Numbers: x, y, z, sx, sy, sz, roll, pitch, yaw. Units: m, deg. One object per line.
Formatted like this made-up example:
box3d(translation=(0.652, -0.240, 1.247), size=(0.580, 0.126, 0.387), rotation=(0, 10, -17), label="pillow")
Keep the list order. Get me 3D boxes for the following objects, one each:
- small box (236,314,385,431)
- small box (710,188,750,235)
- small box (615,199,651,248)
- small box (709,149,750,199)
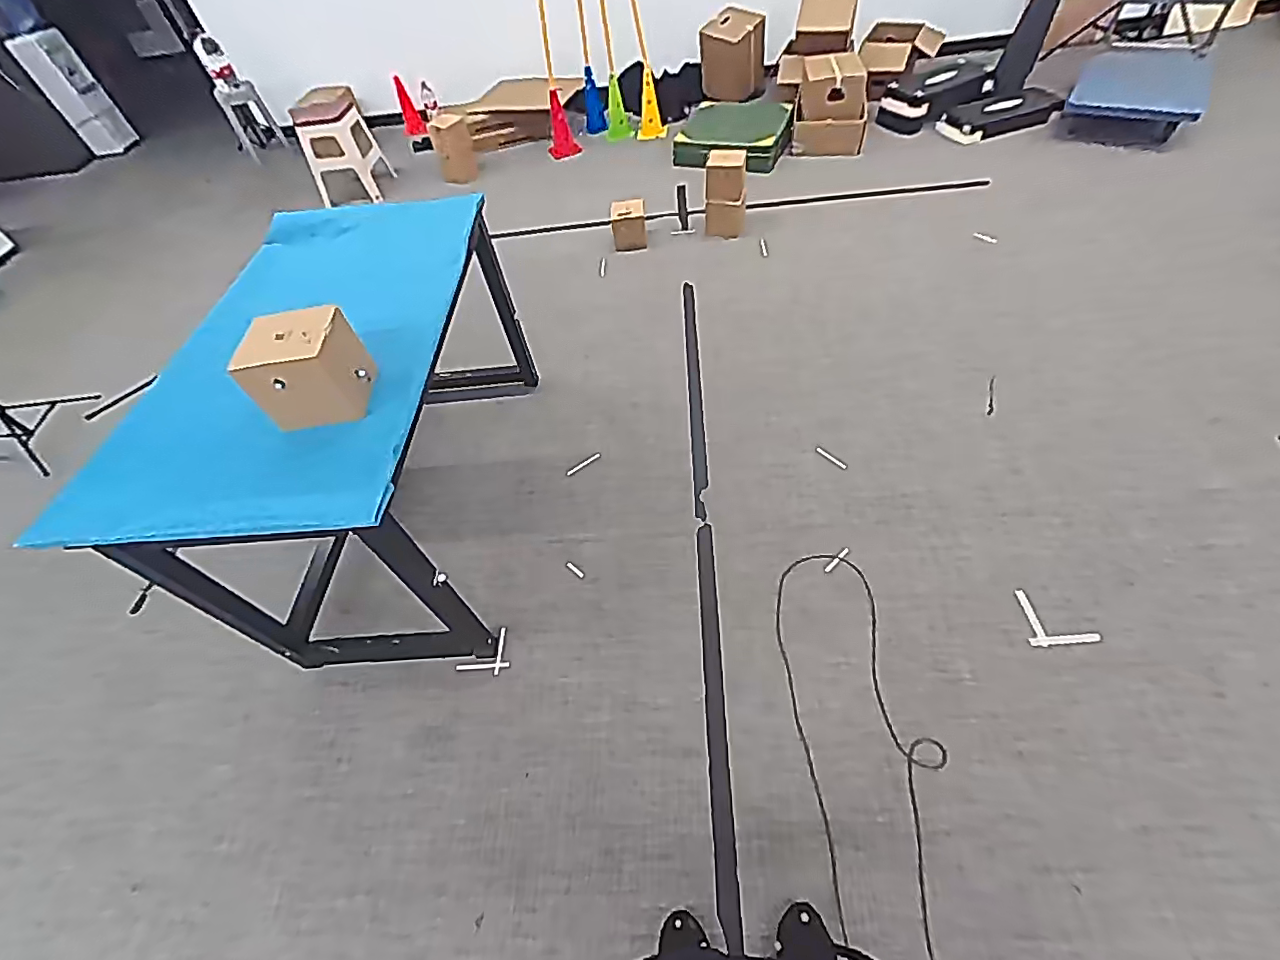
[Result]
box3d(translation=(-0.661, -0.215, 1.109), size=(0.179, 0.176, 0.168), rotation=(-5, 53, 2), label="small box")
box3d(translation=(0.457, -1.368, 2.749), size=(0.179, 0.176, 0.168), rotation=(10, 54, 14), label="small box")
box3d(translation=(-0.033, -1.306, 2.771), size=(0.168, 0.176, 0.179), rotation=(-5, 51, 5), label="small box")
box3d(translation=(0.436, -1.489, 2.636), size=(0.179, 0.176, 0.168), rotation=(8, 55, 13), label="small box")
